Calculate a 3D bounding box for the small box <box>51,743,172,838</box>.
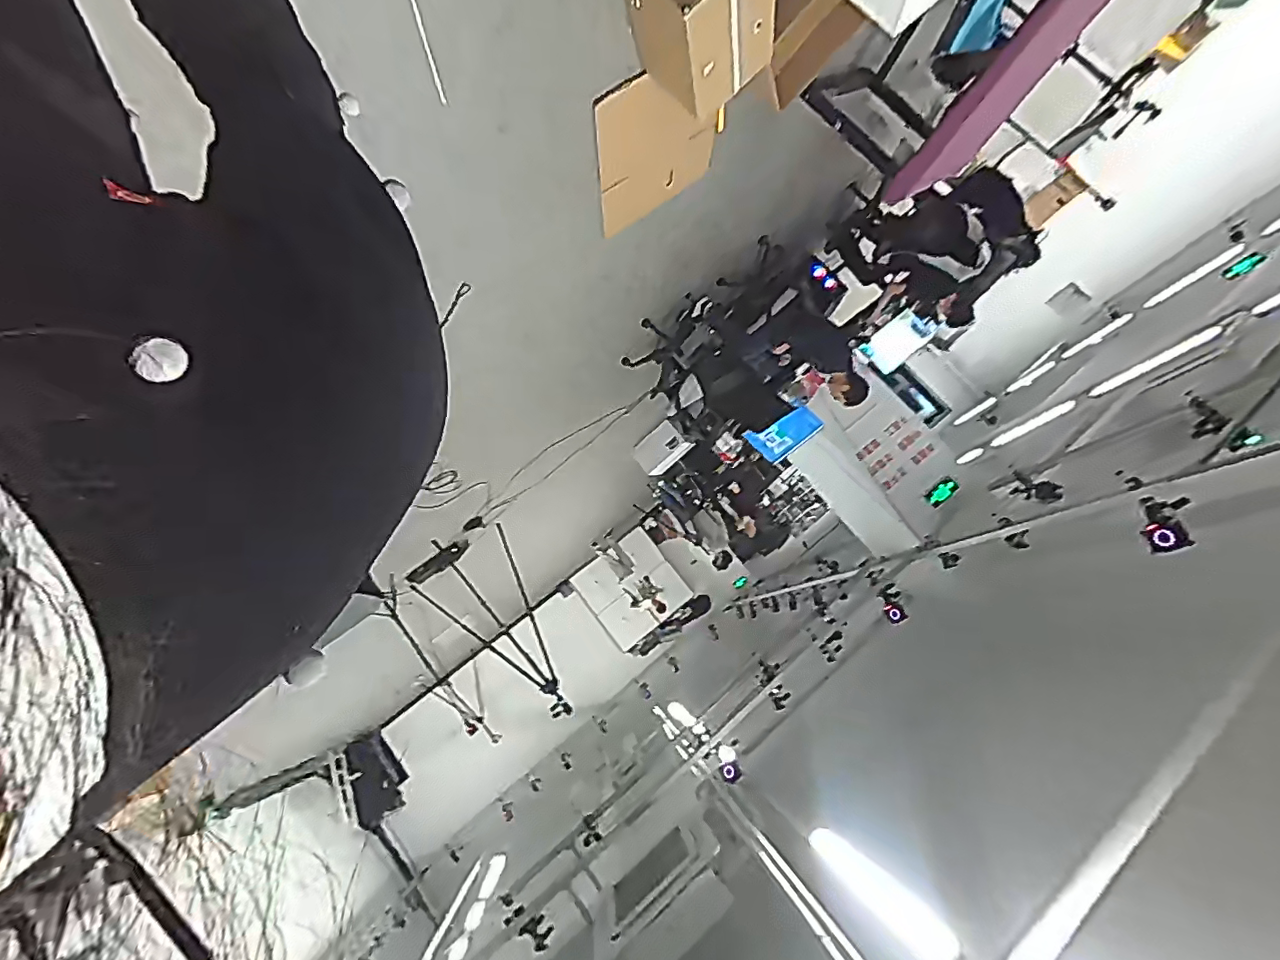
[{"bbox_3d":[-1.607,0.934,1.650,0.168,0.176,0.179,-38,170,-12],"label":"small box"}]
